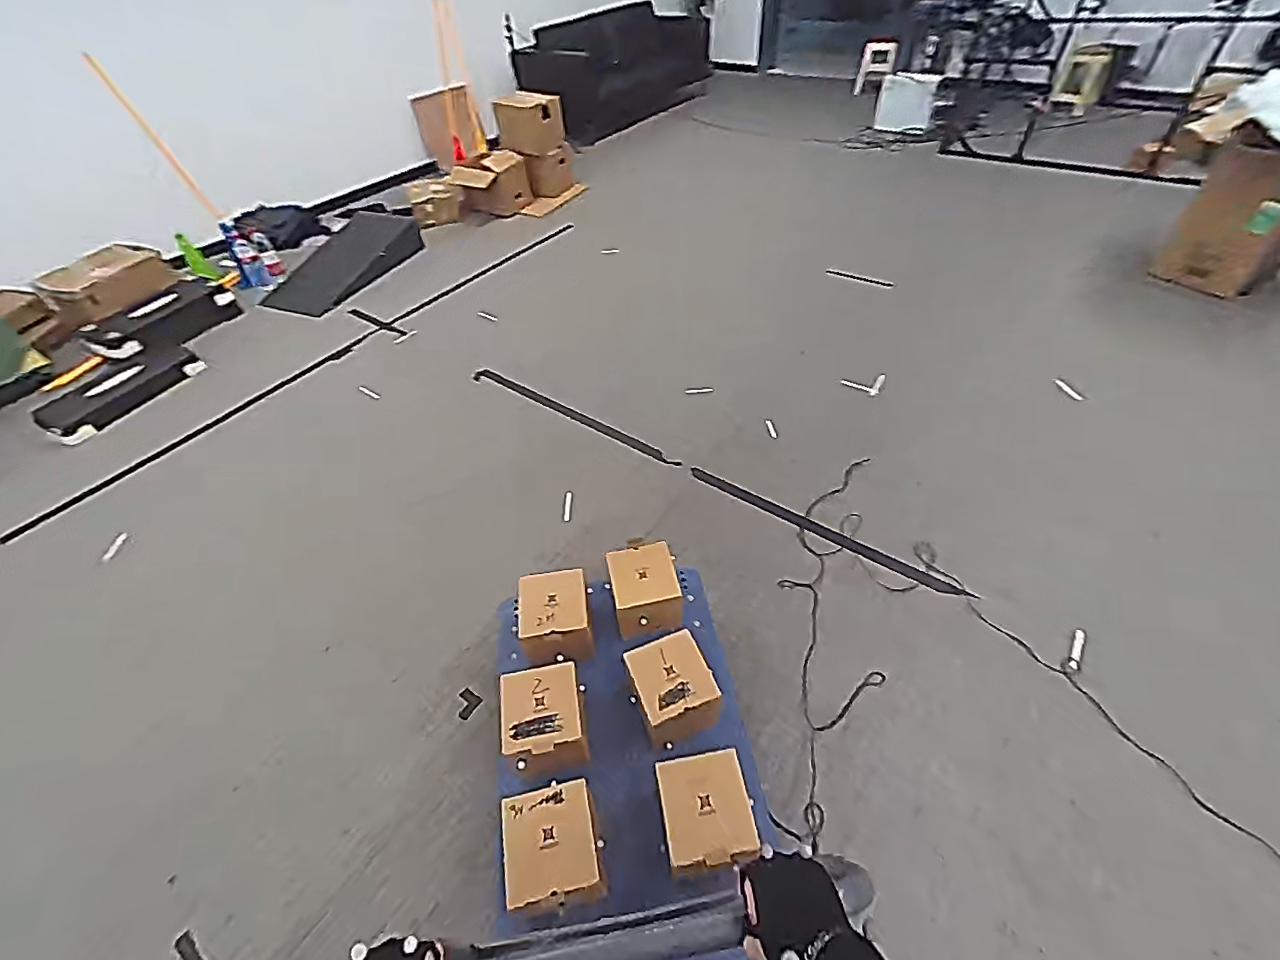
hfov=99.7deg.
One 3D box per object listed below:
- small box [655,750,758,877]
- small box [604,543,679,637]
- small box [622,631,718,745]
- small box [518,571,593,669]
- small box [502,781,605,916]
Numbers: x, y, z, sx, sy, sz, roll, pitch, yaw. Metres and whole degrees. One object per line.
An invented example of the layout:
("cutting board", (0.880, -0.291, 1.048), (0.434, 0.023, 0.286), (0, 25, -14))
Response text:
("small box", (0.127, 0.671, 1.082), (0.168, 0.176, 0.179), (-8, 46, -5))
("small box", (0.006, 0.301, 1.443), (0.168, 0.176, 0.179), (-11, 46, -7))
("small box", (0.068, 0.491, 1.257), (0.168, 0.176, 0.179), (-17, 47, -13))
("small box", (-0.216, 0.361, 1.395), (0.168, 0.176, 0.179), (-8, 47, -4))
("small box", (-0.166, 0.719, 1.051), (0.168, 0.176, 0.179), (-11, 47, -8))
